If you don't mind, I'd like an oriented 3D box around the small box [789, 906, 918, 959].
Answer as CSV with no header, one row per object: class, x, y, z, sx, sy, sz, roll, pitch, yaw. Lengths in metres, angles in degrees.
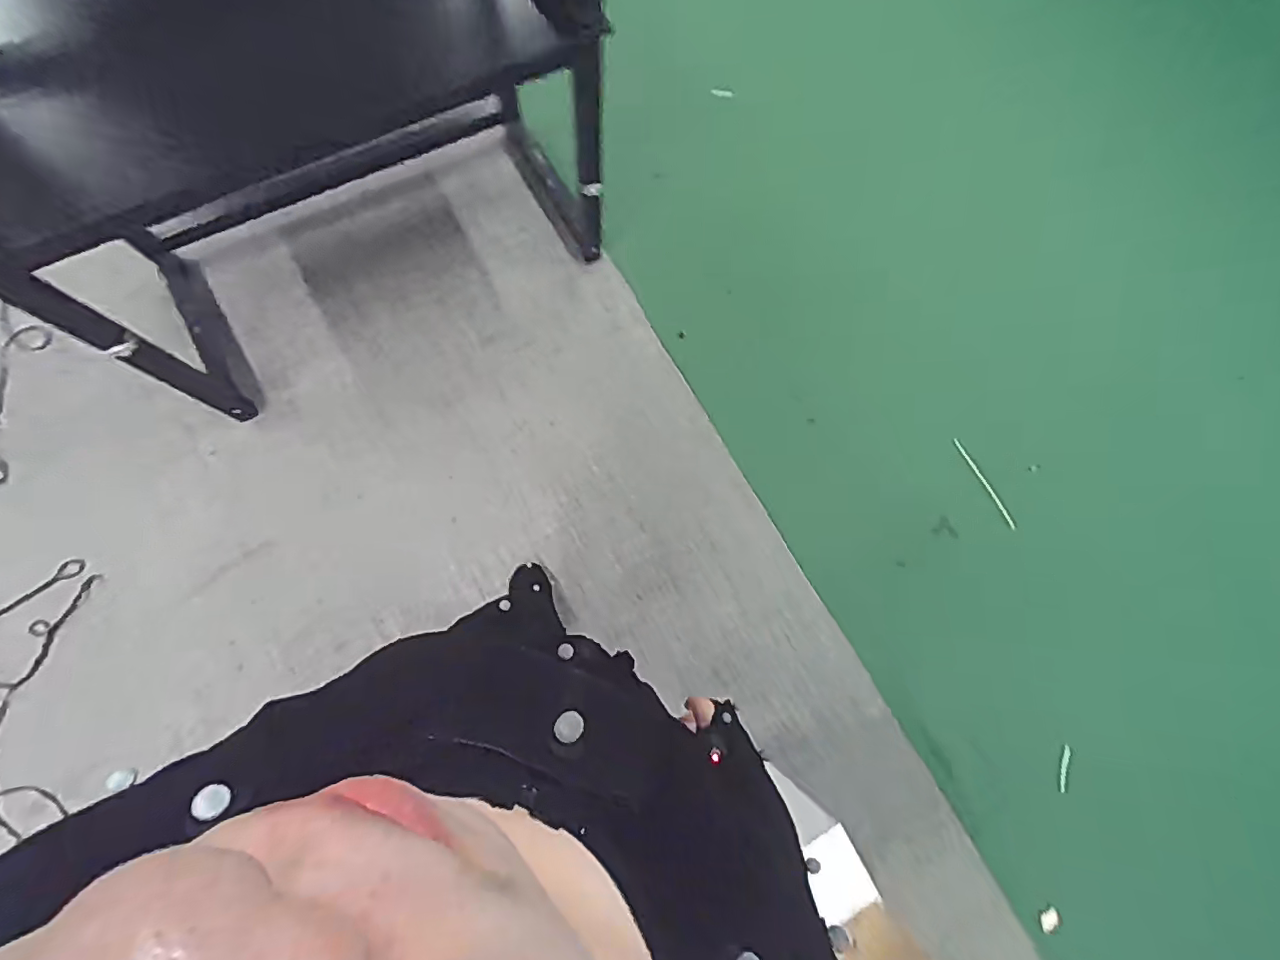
small box,0.337,0.757,0.750,0.168,0.176,0.179,-26,80,-9
